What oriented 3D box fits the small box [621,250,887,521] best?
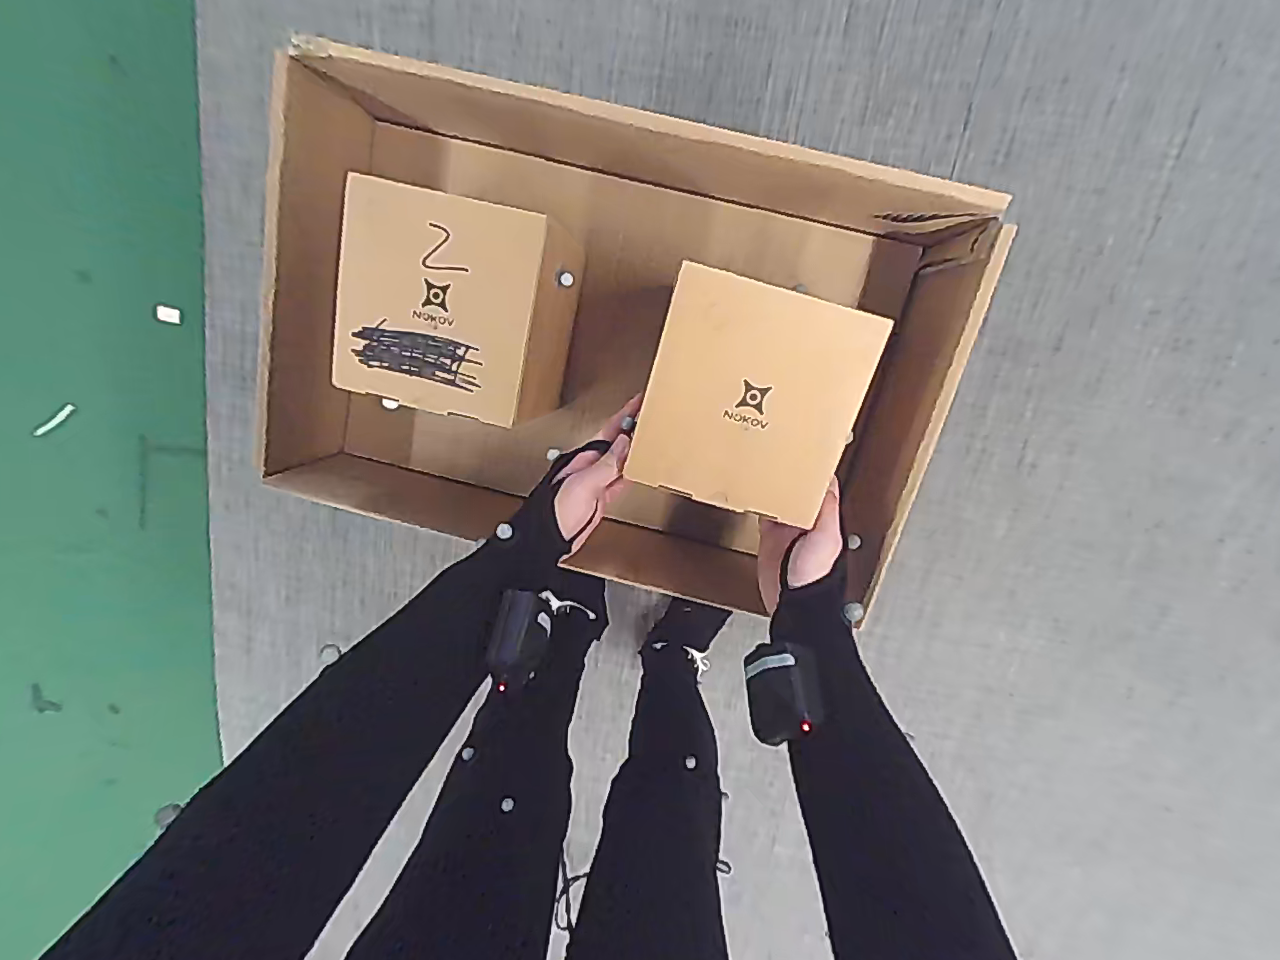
[{"bbox_3d":[0.086,-0.088,0.494,0.168,0.176,0.179,15,106,-1],"label":"small box"}]
